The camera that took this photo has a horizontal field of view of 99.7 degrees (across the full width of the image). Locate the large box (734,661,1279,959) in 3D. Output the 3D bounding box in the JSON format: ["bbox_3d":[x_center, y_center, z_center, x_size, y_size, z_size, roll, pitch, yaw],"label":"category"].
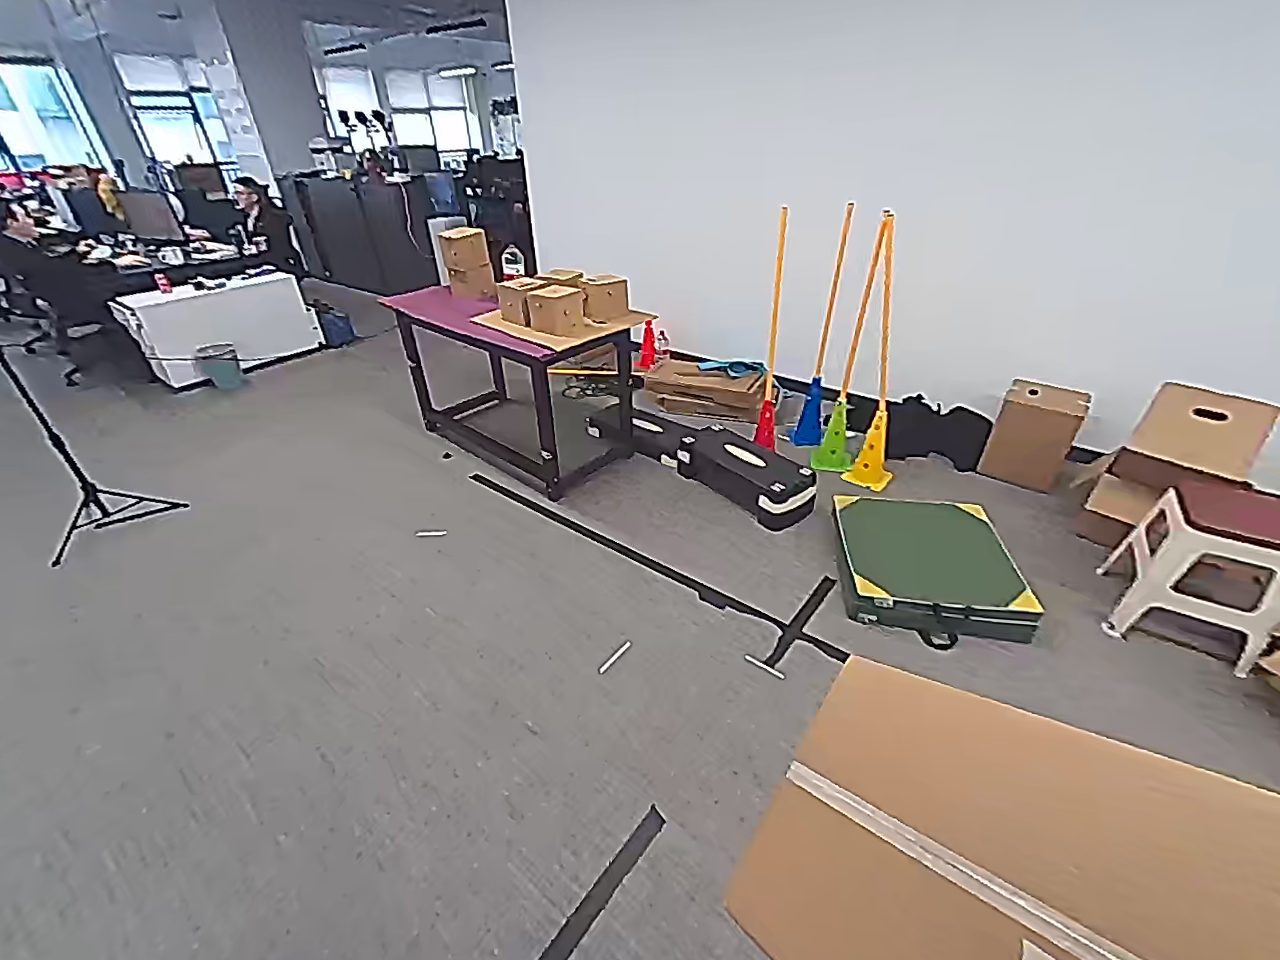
[{"bbox_3d":[0.381,0.441,0.524,0.320,0.320,0.408,-52,25,-20],"label":"large box"}]
